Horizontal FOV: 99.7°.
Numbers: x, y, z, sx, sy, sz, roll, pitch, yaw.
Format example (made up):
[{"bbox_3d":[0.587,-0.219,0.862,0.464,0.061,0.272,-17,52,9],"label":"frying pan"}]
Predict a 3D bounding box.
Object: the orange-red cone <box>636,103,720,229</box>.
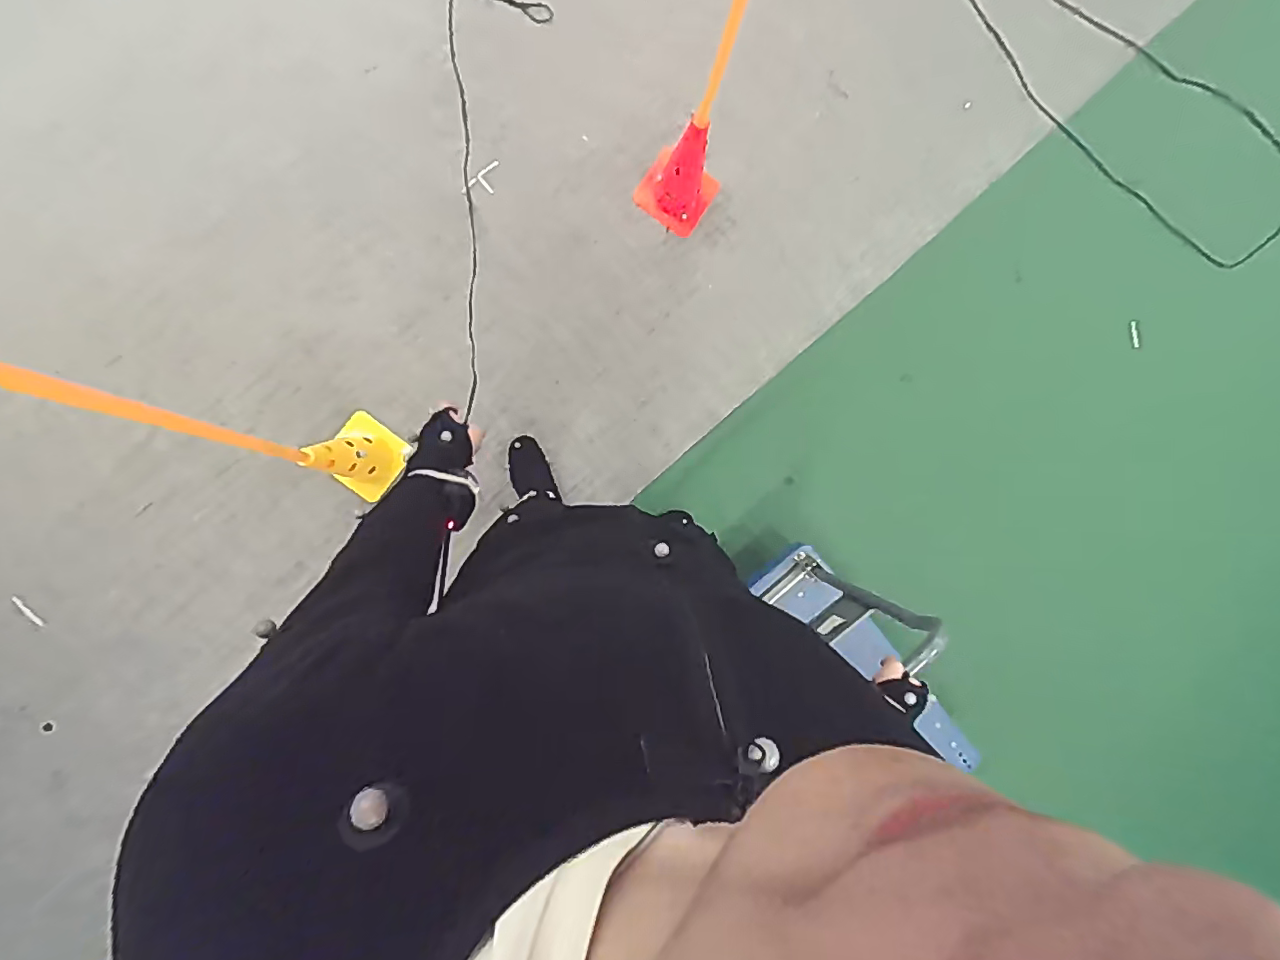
[{"bbox_3d":[0.130,-0.853,1.408,0.198,0.360,0.199,34,88,-7],"label":"orange-red cone"}]
